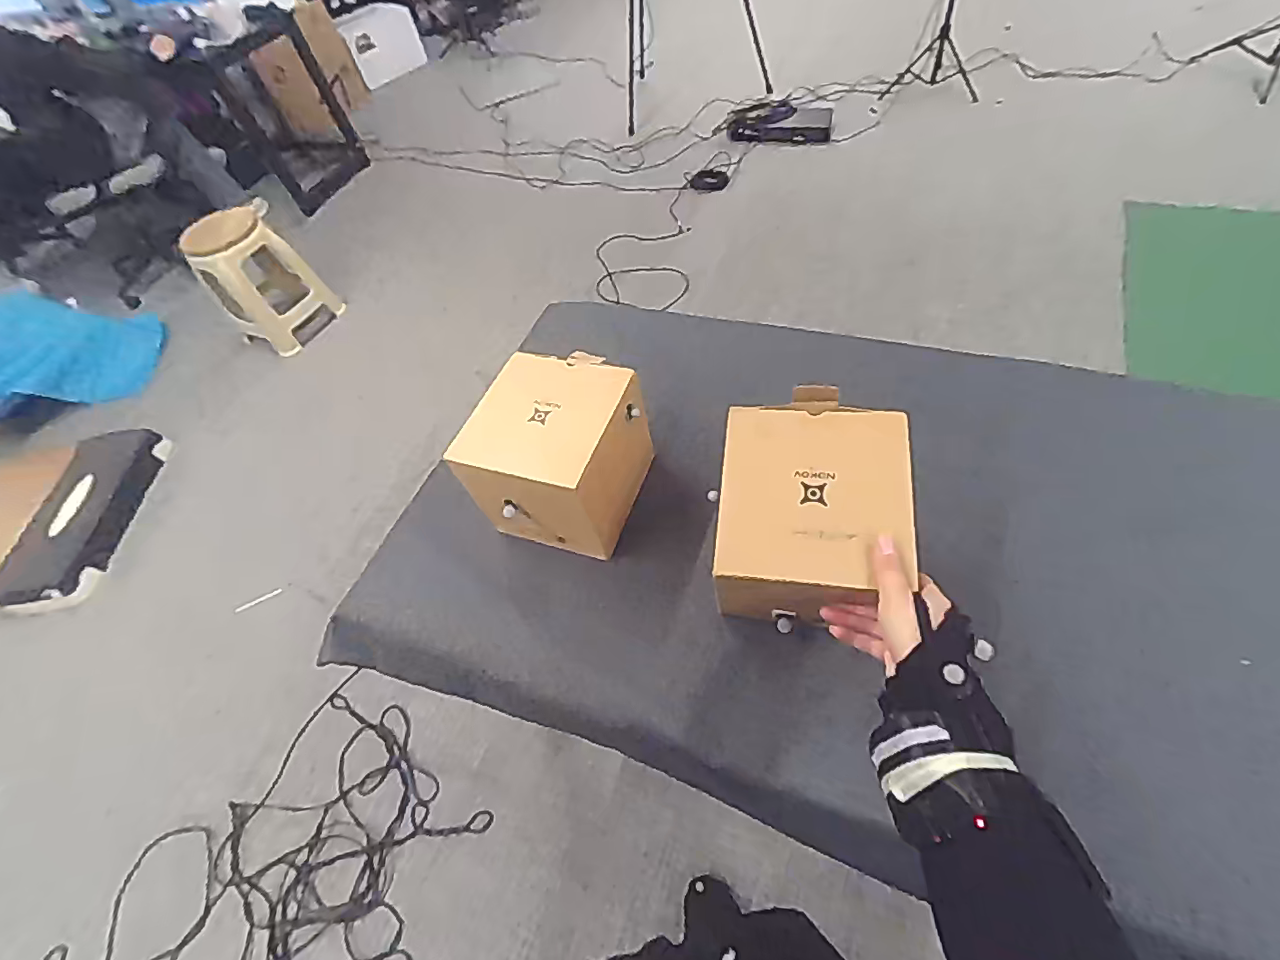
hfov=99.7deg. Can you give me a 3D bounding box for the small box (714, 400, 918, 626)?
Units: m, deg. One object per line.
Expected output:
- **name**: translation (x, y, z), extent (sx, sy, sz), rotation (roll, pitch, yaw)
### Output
- **small box**: translation (0.167, 0.038, 0.551), extent (0.168, 0.176, 0.179), rotation (3, 65, 13)

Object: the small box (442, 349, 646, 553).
- **small box**: translation (-0.100, -0.033, 0.666), extent (0.168, 0.176, 0.179), rotation (12, 57, 18)
